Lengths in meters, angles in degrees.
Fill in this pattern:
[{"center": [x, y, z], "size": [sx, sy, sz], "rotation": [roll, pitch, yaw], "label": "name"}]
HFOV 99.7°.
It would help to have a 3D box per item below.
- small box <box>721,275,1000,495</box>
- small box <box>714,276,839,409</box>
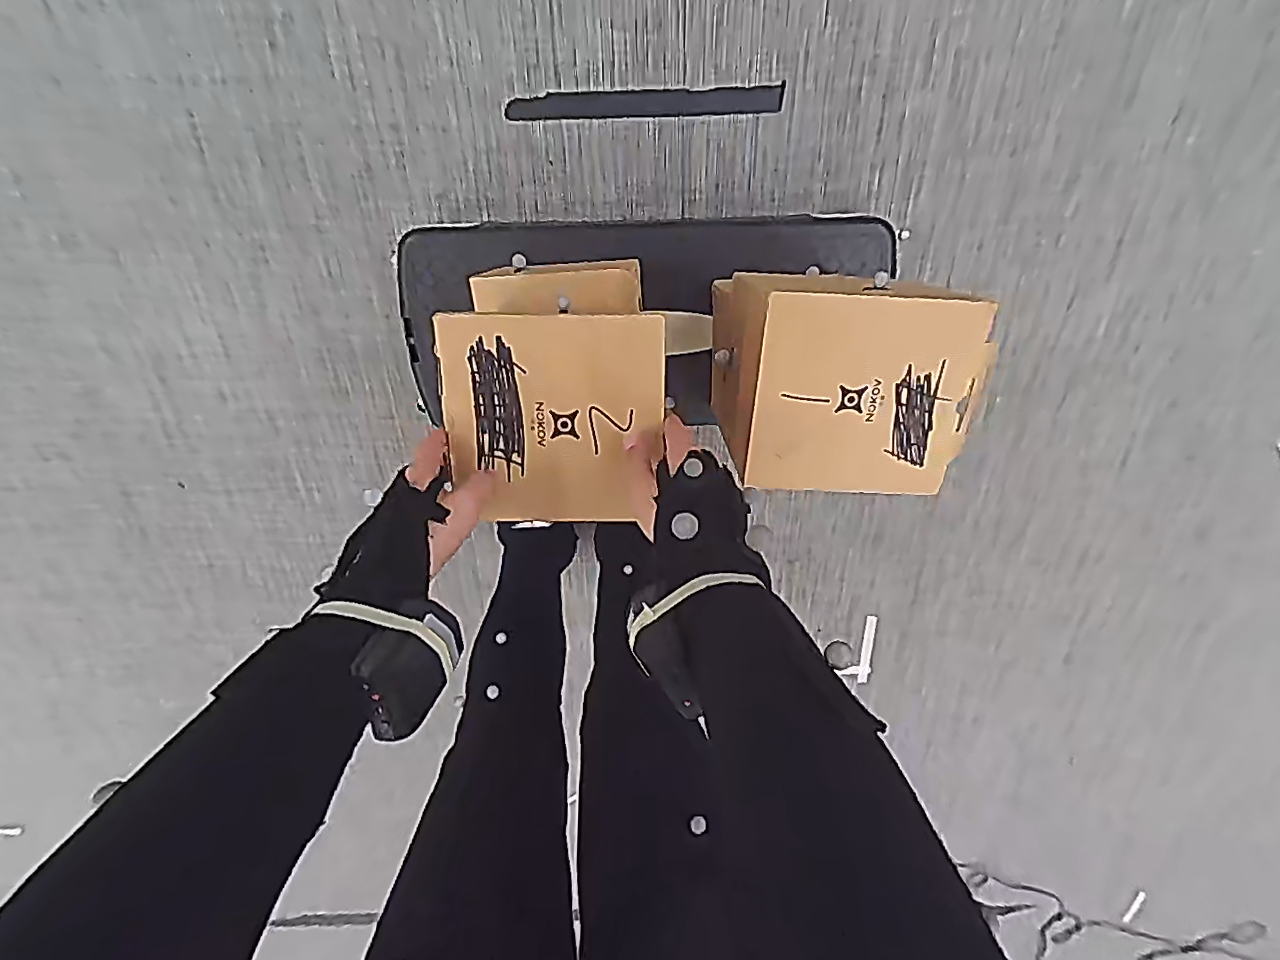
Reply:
[{"center": [0.182, -0.099, 0.511], "size": [0.179, 0.176, 0.168], "rotation": [3, 115, -1], "label": "small box"}, {"center": [0.184, -0.154, 0.667], "size": [0.168, 0.176, 0.179], "rotation": [-3, 115, 0], "label": "small box"}]
